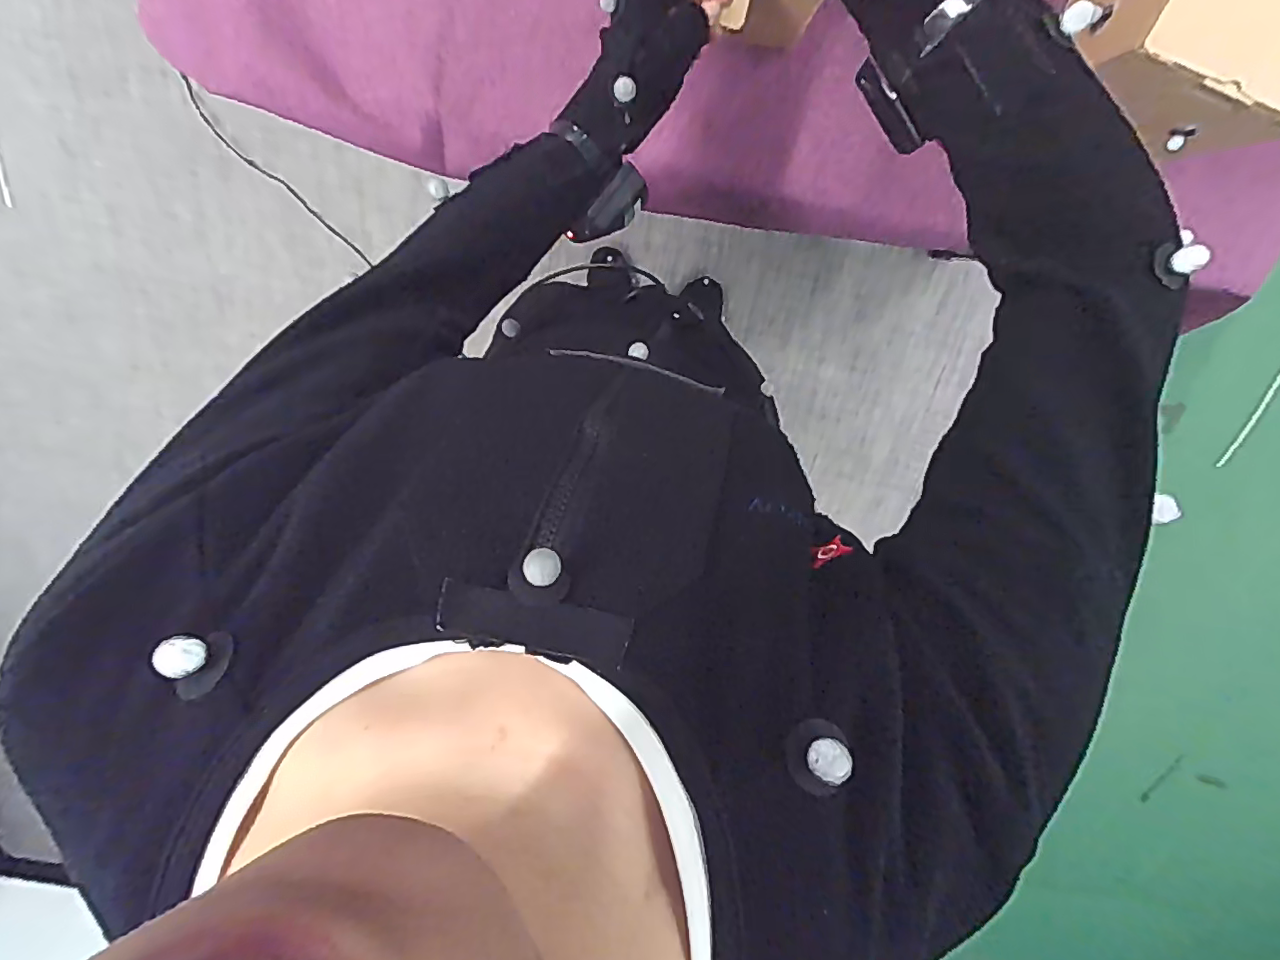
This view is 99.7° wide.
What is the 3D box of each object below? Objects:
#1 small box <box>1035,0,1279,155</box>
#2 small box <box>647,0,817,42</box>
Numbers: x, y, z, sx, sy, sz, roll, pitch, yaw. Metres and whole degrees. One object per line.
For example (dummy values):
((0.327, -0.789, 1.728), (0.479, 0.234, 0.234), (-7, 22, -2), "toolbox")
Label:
((0.483, -0.401, 0.451), (0.168, 0.176, 0.179), (20, 112, -5), "small box")
((0.088, -0.495, 0.437), (0.168, 0.176, 0.179), (11, 114, -2), "small box")
